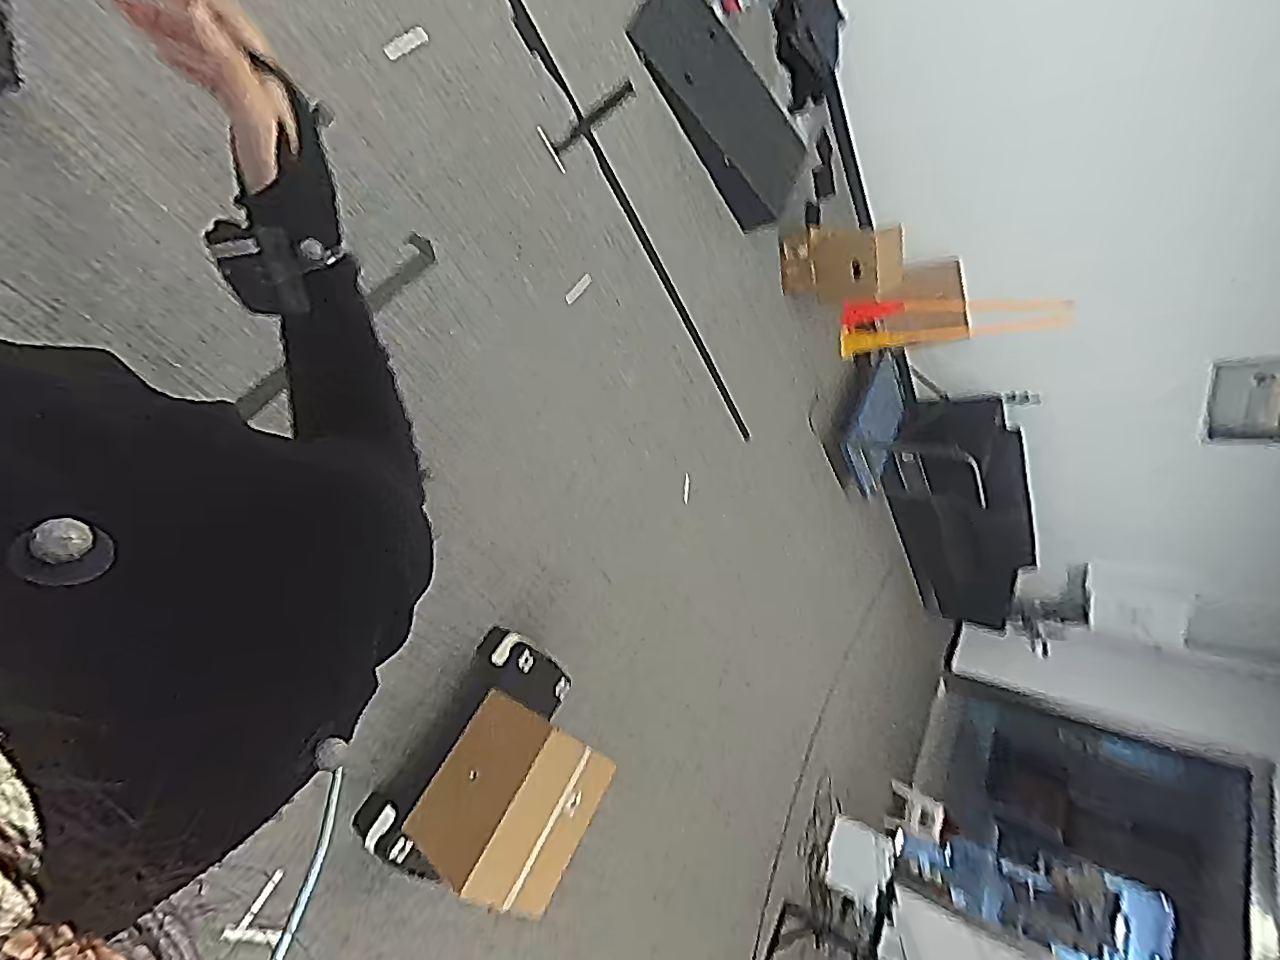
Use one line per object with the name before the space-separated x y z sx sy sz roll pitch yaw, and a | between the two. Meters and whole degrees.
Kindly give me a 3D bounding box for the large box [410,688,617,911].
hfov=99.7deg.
large box | -0.338 0.863 1.491 0.320 0.320 0.408 52 57 -37
